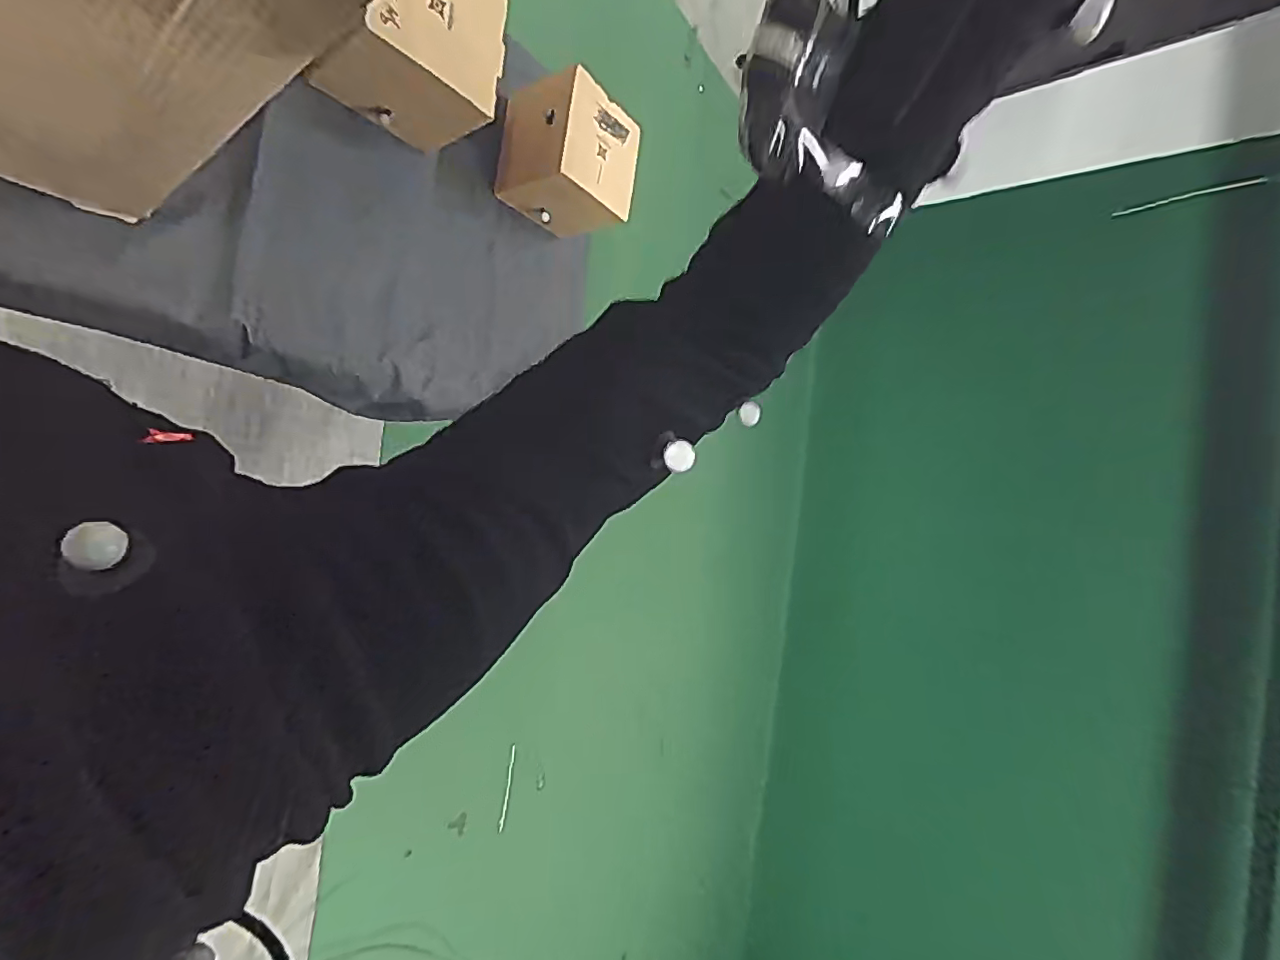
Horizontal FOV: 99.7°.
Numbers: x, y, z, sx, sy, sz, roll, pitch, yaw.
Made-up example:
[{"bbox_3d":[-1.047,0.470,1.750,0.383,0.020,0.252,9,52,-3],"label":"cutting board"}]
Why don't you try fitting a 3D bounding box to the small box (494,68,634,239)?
[{"bbox_3d":[-0.134,-0.554,0.946,0.168,0.176,0.179,11,86,-53],"label":"small box"}]
